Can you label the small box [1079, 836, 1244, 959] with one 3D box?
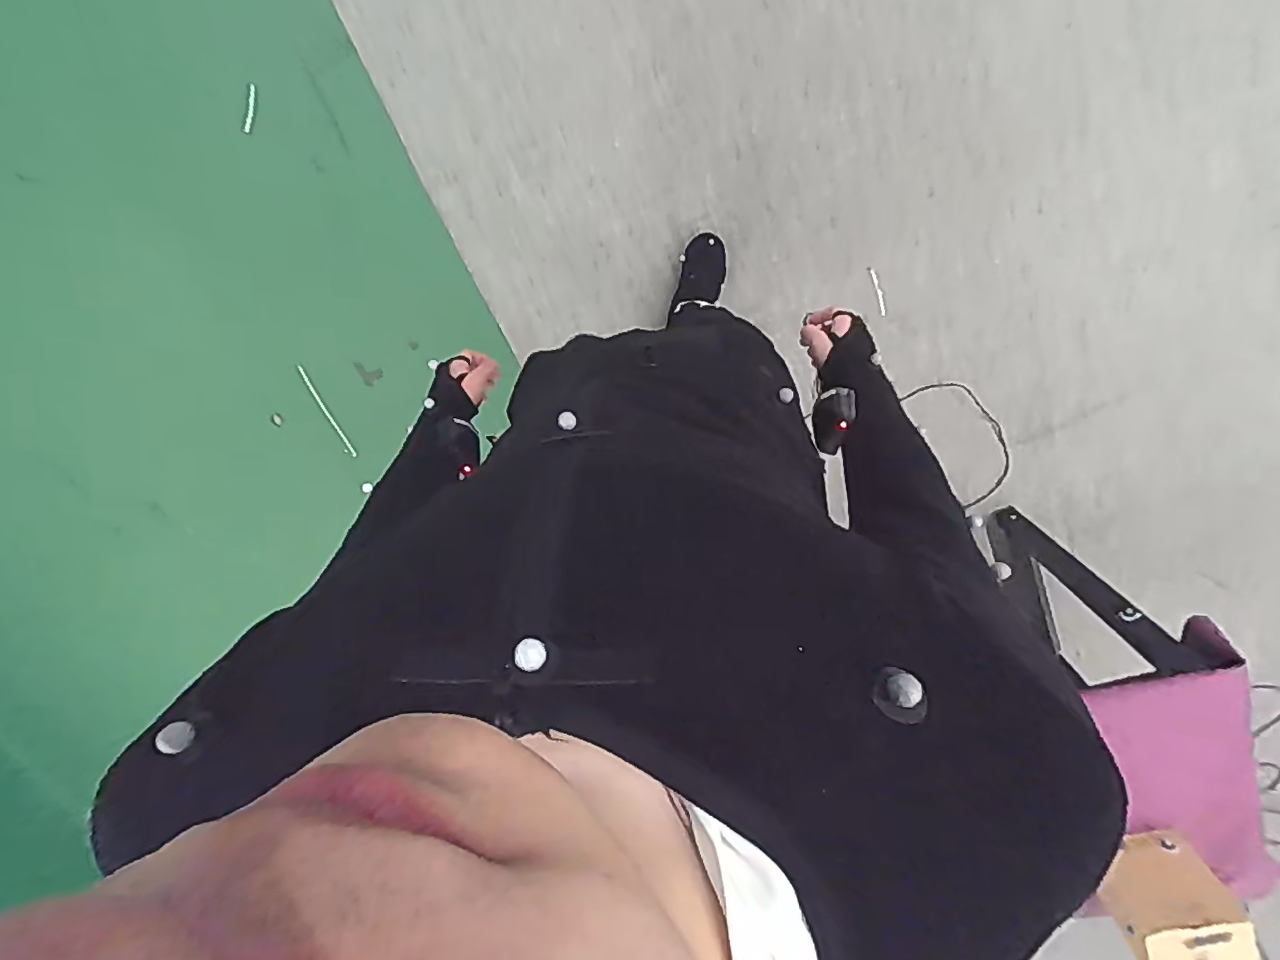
[{"bbox_3d":[0.994,0.820,1.044,0.168,0.176,0.179,-20,109,15],"label":"small box"}]
